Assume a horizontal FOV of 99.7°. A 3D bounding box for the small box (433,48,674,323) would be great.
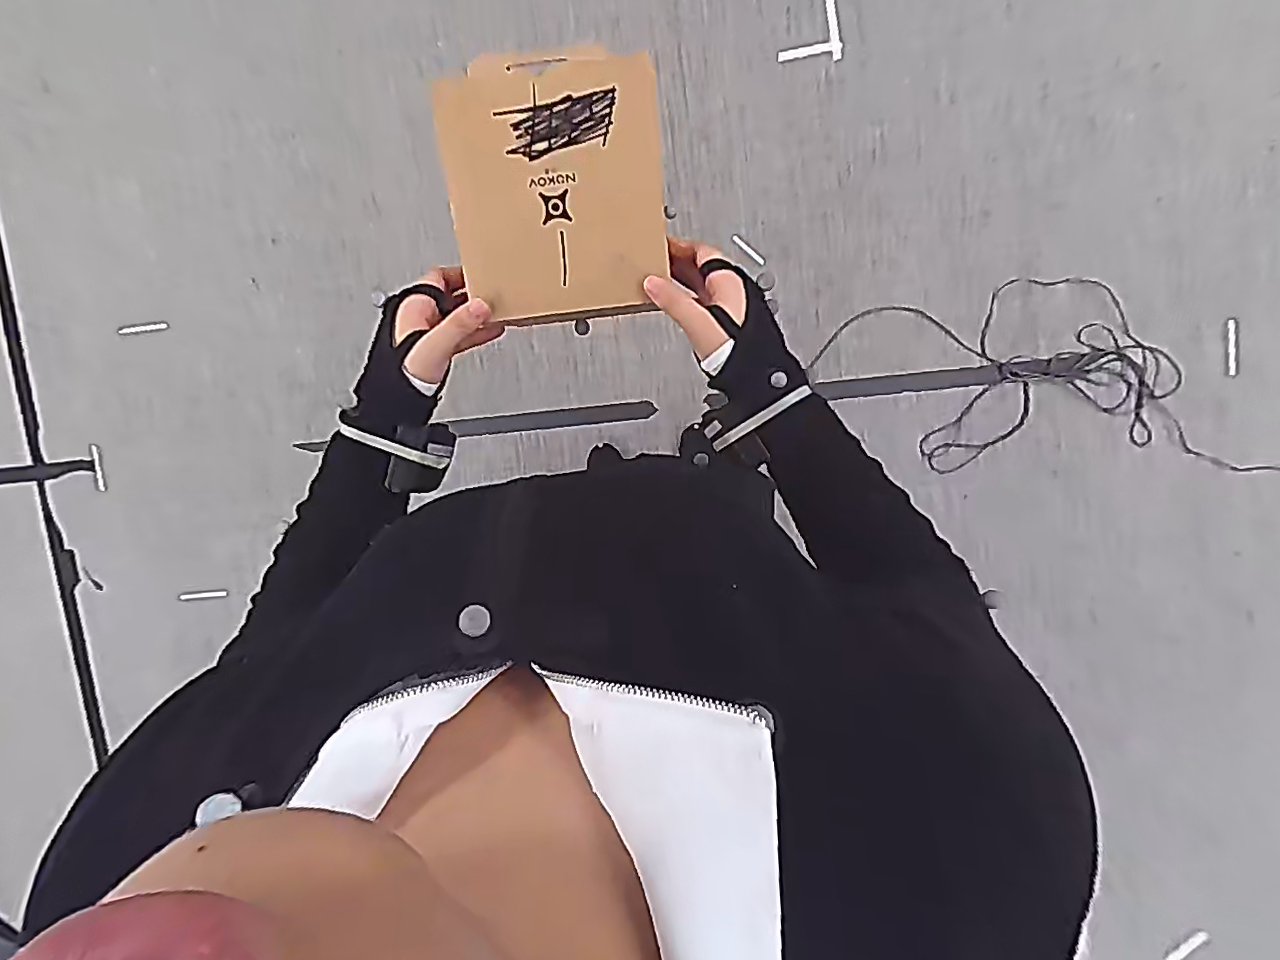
[{"bbox_3d":[-0.062,-0.240,0.488,0.168,0.176,0.179,-6,106,2],"label":"small box"}]
